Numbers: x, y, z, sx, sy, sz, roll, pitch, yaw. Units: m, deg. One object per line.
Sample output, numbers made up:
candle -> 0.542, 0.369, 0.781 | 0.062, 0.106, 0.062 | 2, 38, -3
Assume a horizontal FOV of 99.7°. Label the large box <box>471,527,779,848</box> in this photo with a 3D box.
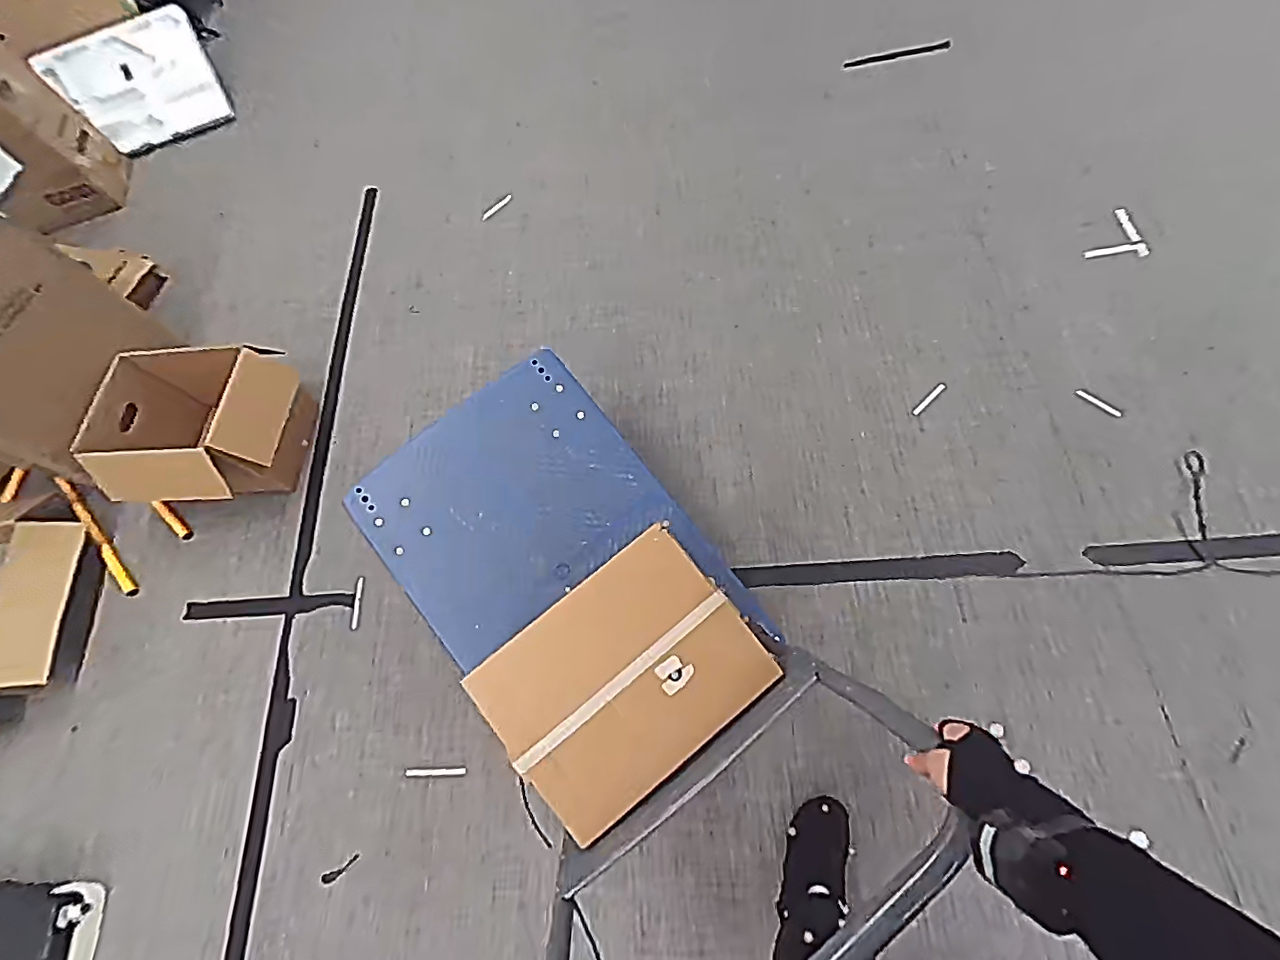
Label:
large box -> -0.027, 0.344, 0.998 | 0.408, 0.320, 0.320 | -39, 84, -8
